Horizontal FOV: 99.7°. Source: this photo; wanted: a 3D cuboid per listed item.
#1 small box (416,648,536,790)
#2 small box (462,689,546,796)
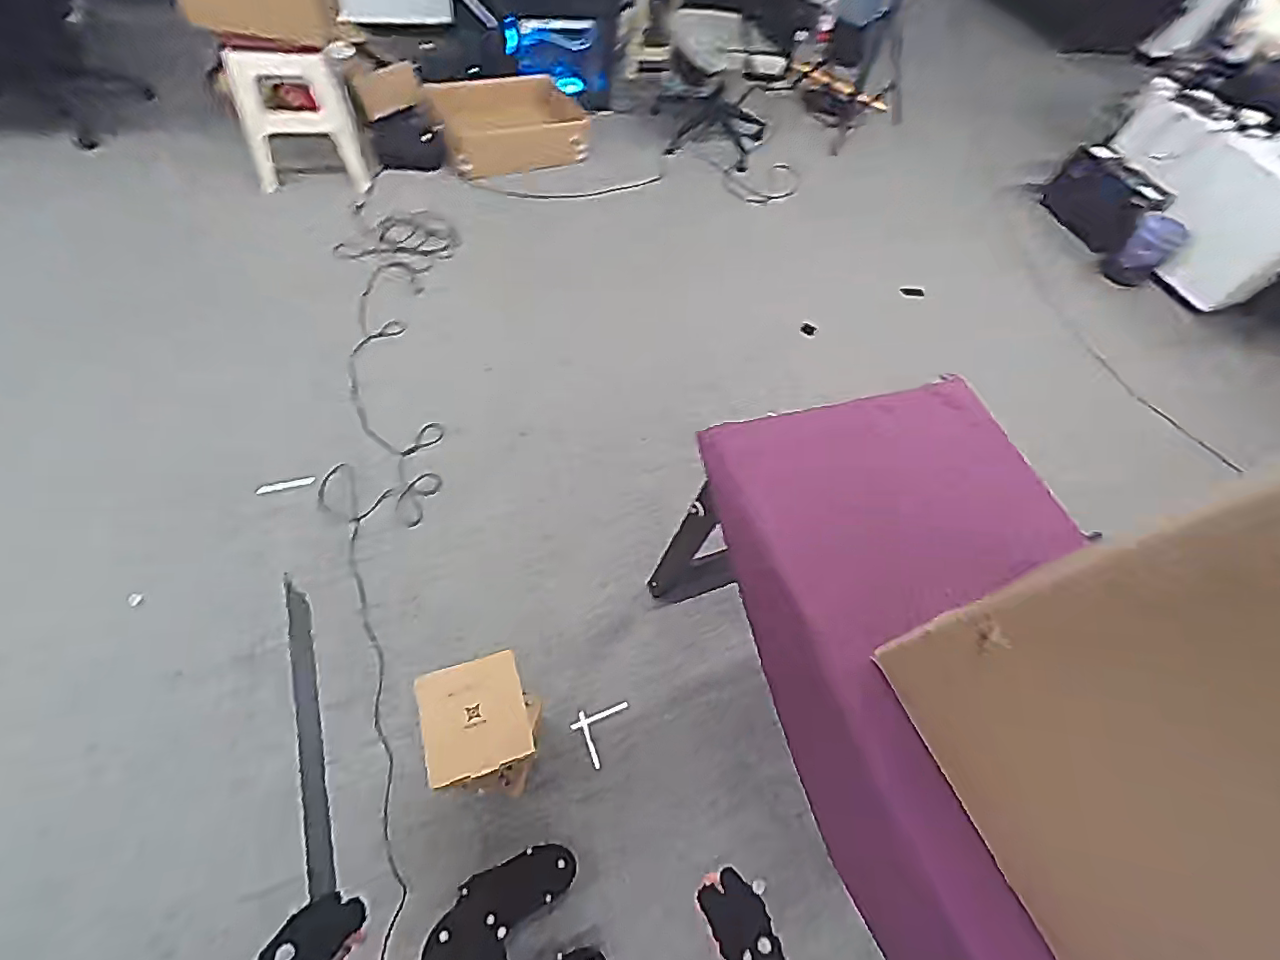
[{"bbox_3d":[-0.281,0.418,0.944,0.168,0.176,0.179,-12,62,-19],"label":"small box"},{"bbox_3d":[-0.294,0.513,1.078,0.168,0.176,0.179,15,58,-2],"label":"small box"}]
